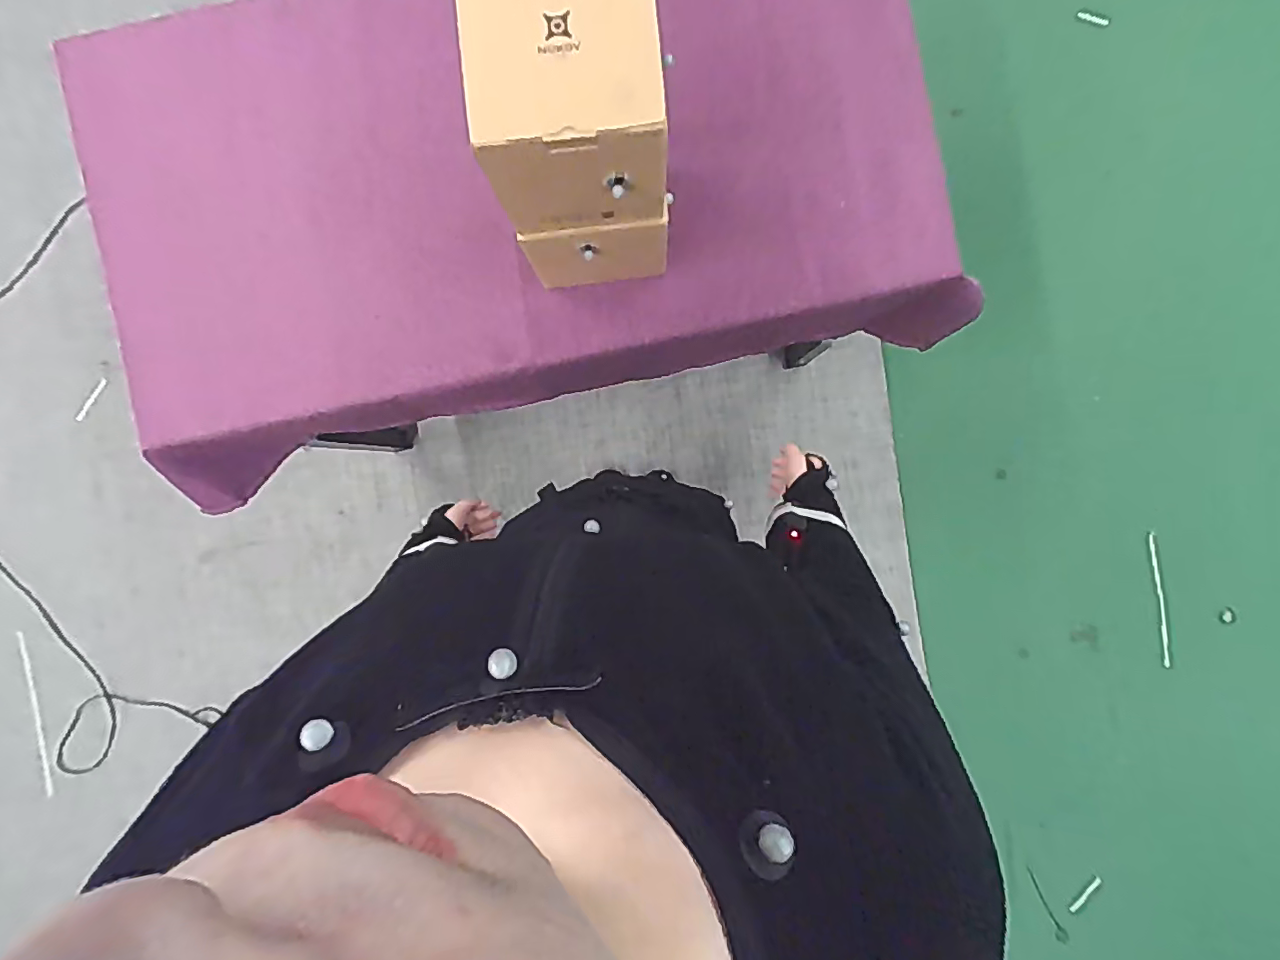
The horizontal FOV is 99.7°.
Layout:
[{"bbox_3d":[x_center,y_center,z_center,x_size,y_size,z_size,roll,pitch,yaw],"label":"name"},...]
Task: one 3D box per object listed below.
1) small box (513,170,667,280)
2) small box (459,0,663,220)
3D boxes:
[{"bbox_3d":[-0.058,-0.368,0.689,0.179,0.176,0.168,-5,92,2],"label":"small box"},{"bbox_3d":[-0.064,-0.373,0.526,0.168,0.176,0.179,-5,91,2],"label":"small box"}]
